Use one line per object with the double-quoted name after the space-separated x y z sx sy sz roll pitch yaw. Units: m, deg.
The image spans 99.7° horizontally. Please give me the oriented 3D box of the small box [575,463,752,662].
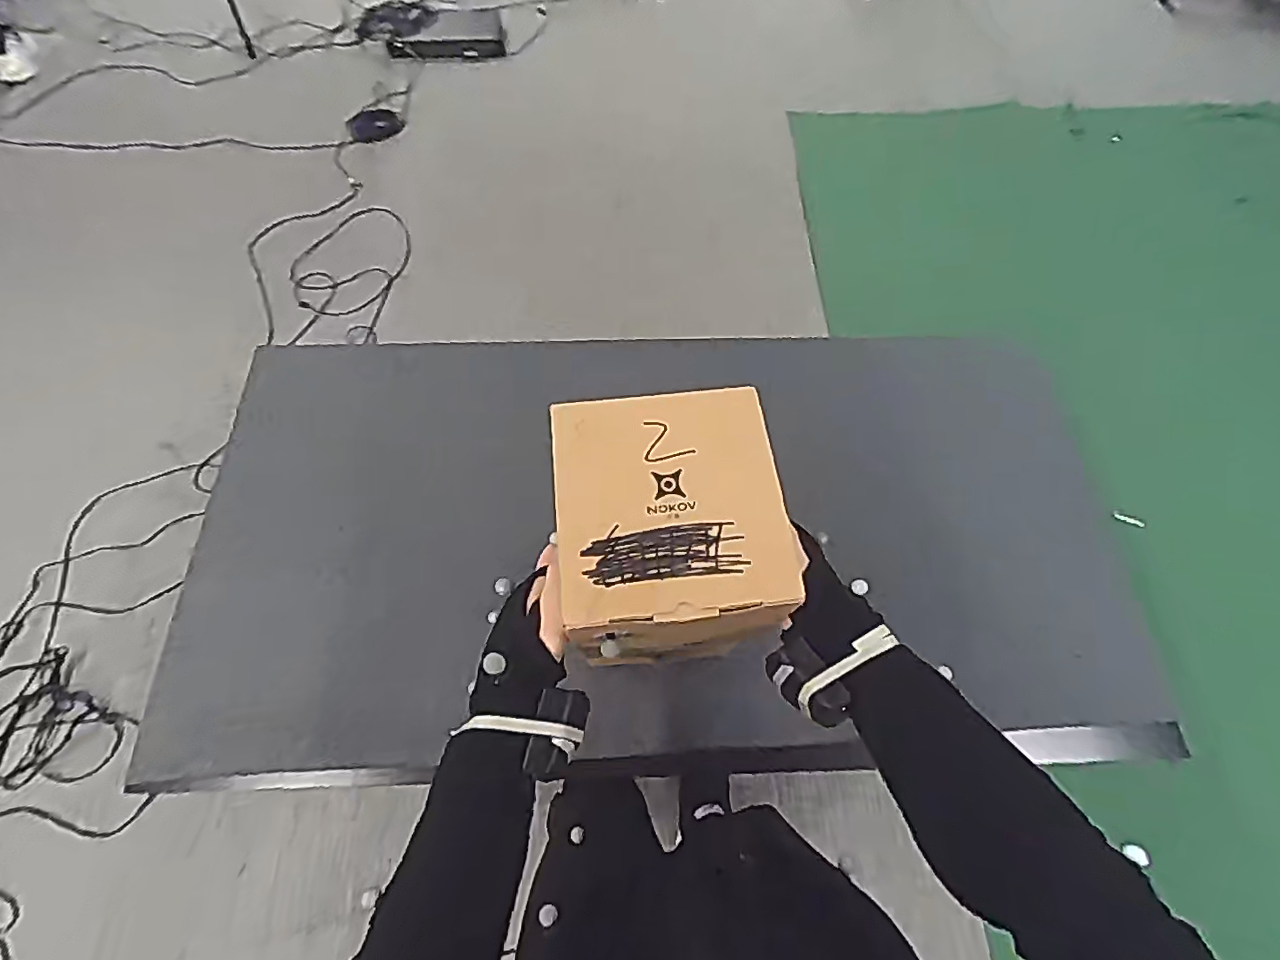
0.016 0.099 0.611 0.168 0.176 0.179 -5 65 -2 "small box"
